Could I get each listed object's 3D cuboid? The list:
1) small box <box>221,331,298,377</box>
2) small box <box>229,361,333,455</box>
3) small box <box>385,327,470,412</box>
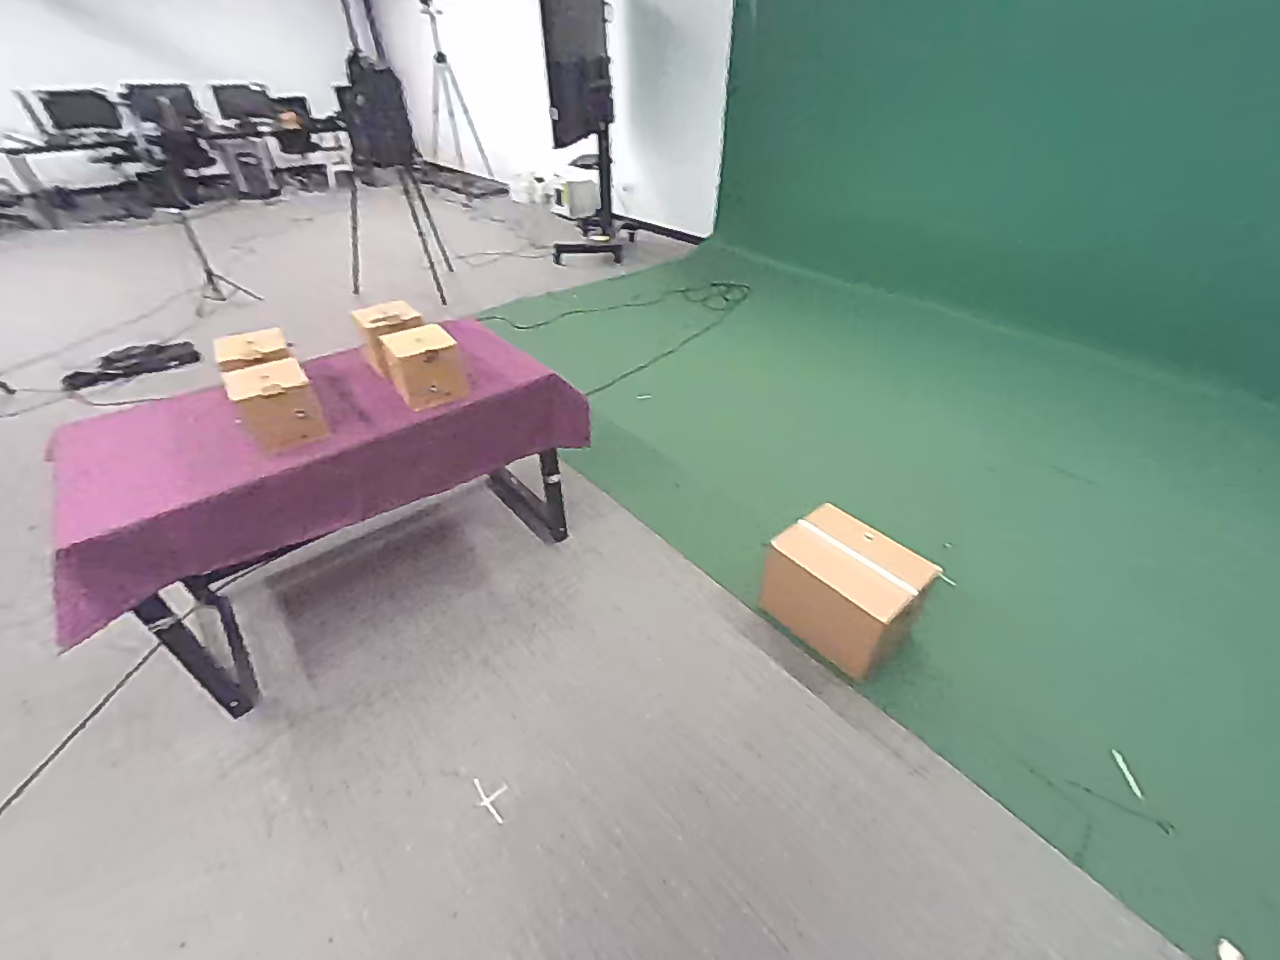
[{"bbox_3d":[-1.070,-0.306,1.553,0.168,0.176,0.179,-23,44,-25],"label":"small box"},{"bbox_3d":[-0.922,-0.183,1.398,0.168,0.176,0.179,-25,43,-29],"label":"small box"},{"bbox_3d":[-0.613,-0.321,1.570,0.168,0.176,0.179,-24,44,-27],"label":"small box"}]
